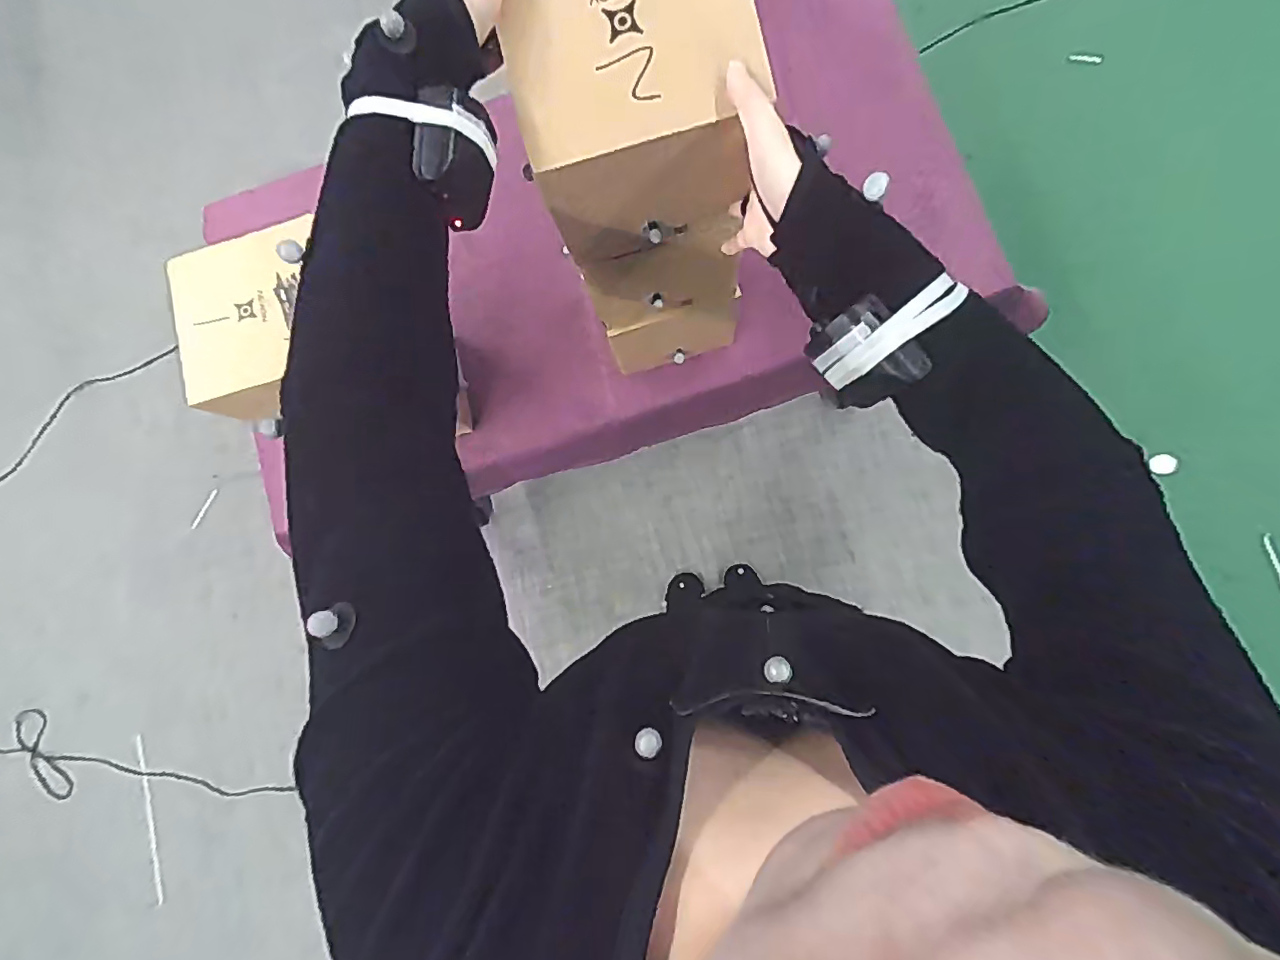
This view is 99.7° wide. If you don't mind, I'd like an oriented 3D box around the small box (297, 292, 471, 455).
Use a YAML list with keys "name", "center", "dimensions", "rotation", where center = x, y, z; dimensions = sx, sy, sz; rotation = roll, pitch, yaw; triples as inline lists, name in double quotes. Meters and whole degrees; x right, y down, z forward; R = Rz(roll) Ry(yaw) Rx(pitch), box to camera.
- name: "small box"
  center: [-0.375, -0.143, 0.792]
  dimensions: [0.179, 0.176, 0.168]
  rotation: [-15, 83, 3]

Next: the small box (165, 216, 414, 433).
- name: "small box"
  center: [-0.387, -0.165, 0.630]
  dimensions: [0.179, 0.176, 0.168]
  rotation: [-15, 83, 4]

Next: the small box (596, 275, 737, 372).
- name: "small box"
  center: [0.025, -0.273, 0.766]
  dimensions: [0.179, 0.176, 0.168]
  rotation: [-16, 82, 3]

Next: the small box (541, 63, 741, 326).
- name: "small box"
  center: [0.004, -0.301, 0.606]
  dimensions: [0.168, 0.176, 0.179]
  rotation: [-15, 84, 4]
